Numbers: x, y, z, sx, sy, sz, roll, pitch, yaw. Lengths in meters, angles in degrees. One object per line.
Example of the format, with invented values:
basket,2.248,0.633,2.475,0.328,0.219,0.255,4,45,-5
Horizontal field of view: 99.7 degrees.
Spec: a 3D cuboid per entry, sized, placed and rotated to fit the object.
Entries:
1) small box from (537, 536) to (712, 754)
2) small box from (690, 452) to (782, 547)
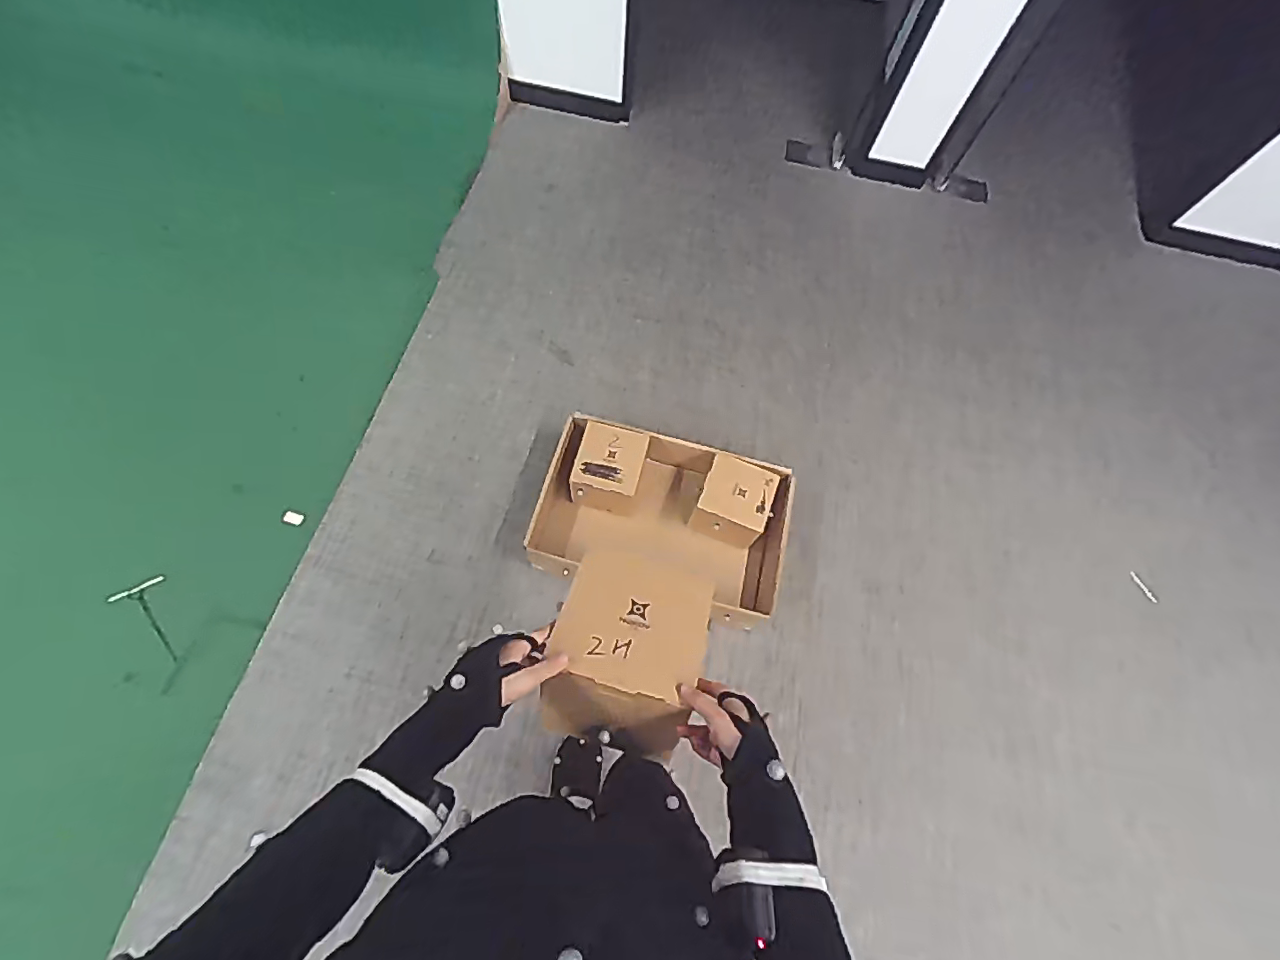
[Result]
small box,-0.019,0.203,0.669,0.168,0.176,0.179,14,46,7
small box,0.243,0.057,1.412,0.179,0.176,0.168,23,69,7
